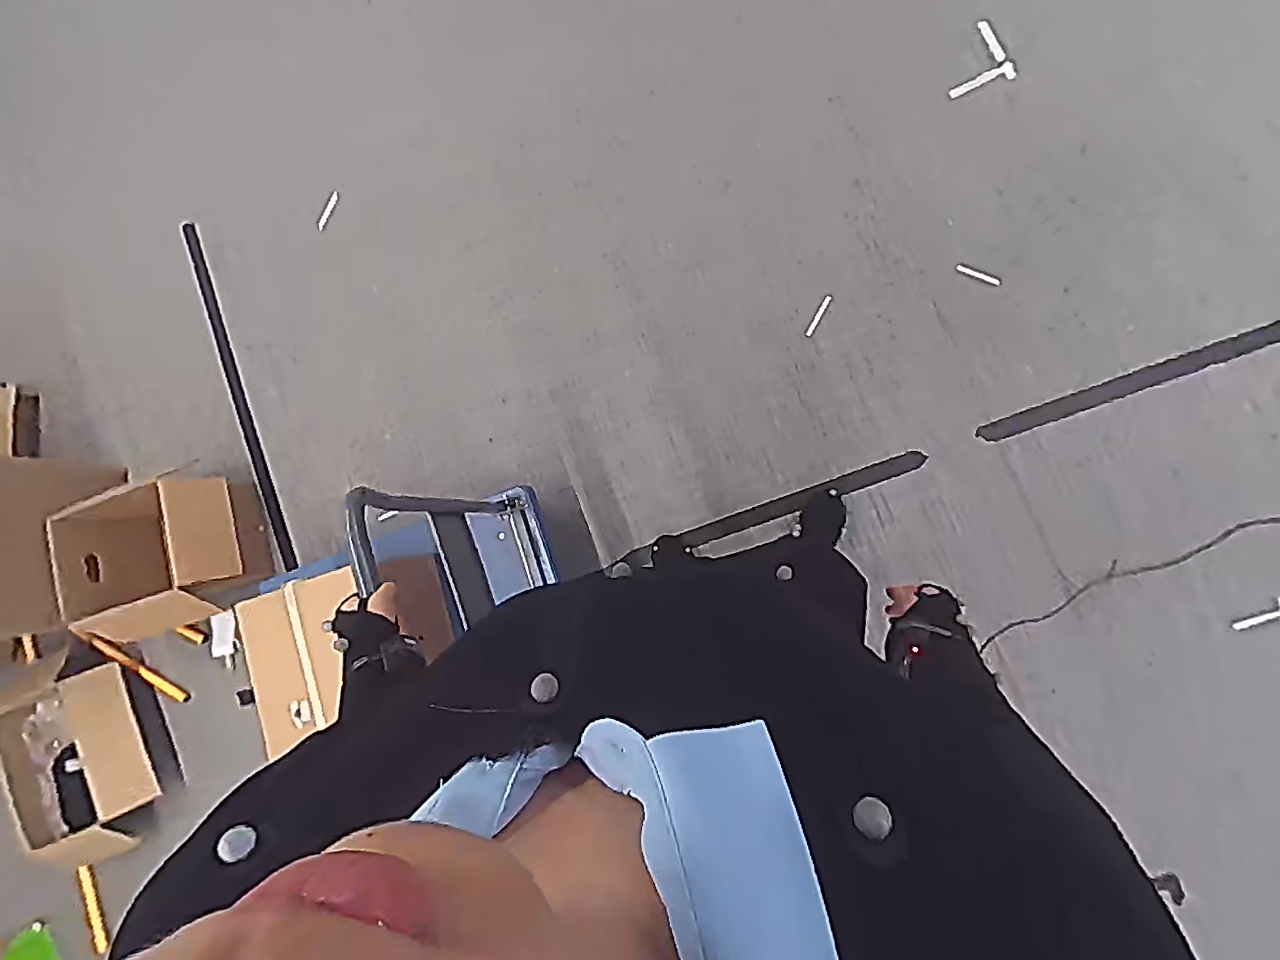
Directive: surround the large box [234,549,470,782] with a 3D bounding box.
[{"bbox_3d":[-0.661,0.413,1.288,0.320,0.320,0.408,-19,85,11],"label":"large box"}]
